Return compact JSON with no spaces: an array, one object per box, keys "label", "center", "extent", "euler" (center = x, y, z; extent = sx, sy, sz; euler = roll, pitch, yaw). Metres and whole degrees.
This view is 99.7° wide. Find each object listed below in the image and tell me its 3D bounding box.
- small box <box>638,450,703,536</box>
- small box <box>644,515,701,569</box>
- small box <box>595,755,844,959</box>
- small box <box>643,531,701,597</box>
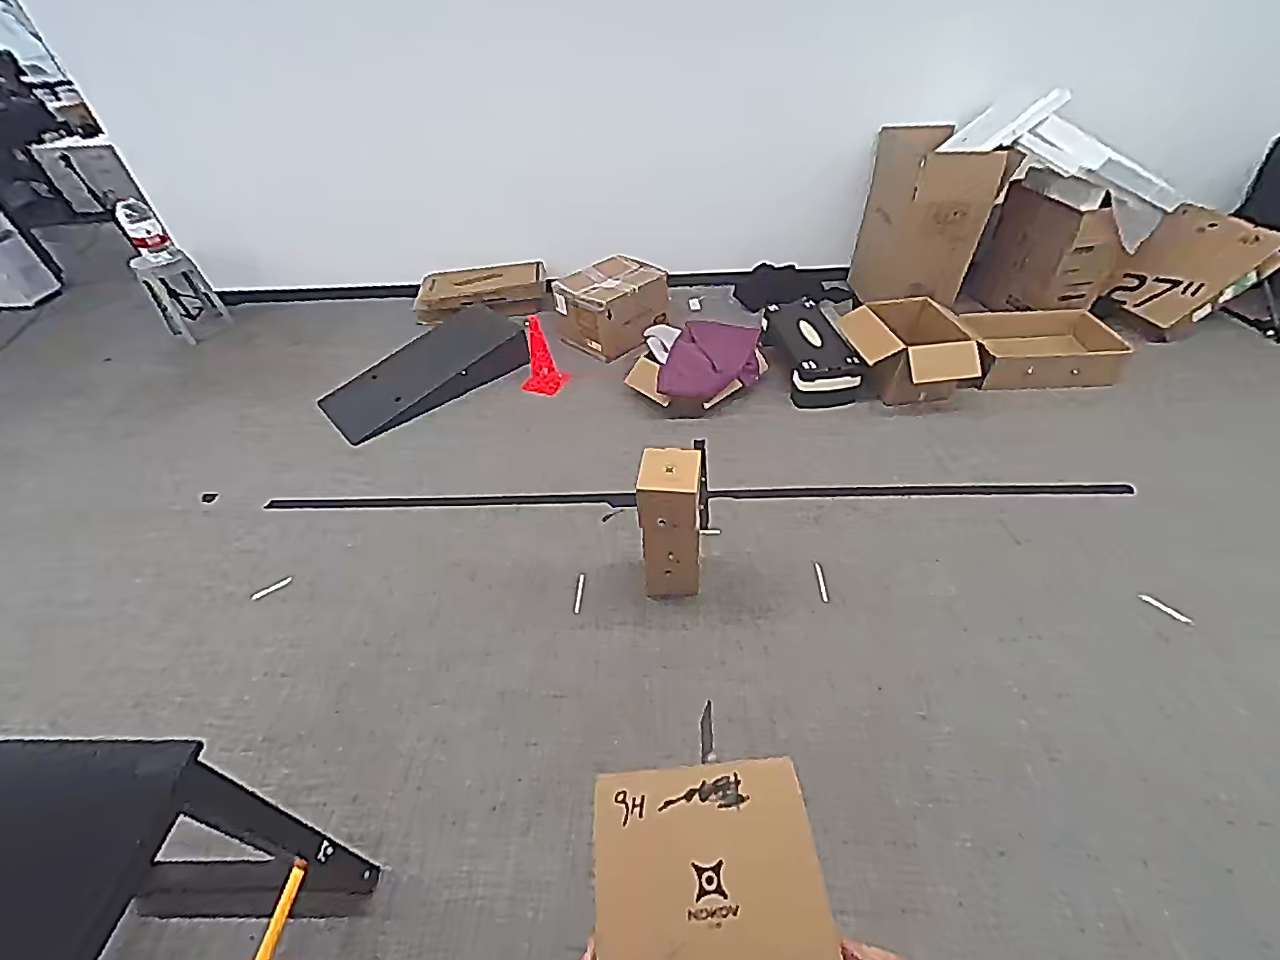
[{"label":"small box","center":[0.091,0.036,1.541],"extent":[0.168,0.176,0.179],"euler":[3,44,8]},{"label":"small box","center":[0.101,0.150,1.657],"extent":[0.168,0.176,0.179],"euler":[-1,43,4]},{"label":"small box","center":[0.057,0.347,0.437],"extent":[0.168,0.176,0.179],"euler":[-6,45,0]},{"label":"small box","center":[0.104,0.271,1.769],"extent":[0.179,0.176,0.168],"euler":[-3,43,1]}]
